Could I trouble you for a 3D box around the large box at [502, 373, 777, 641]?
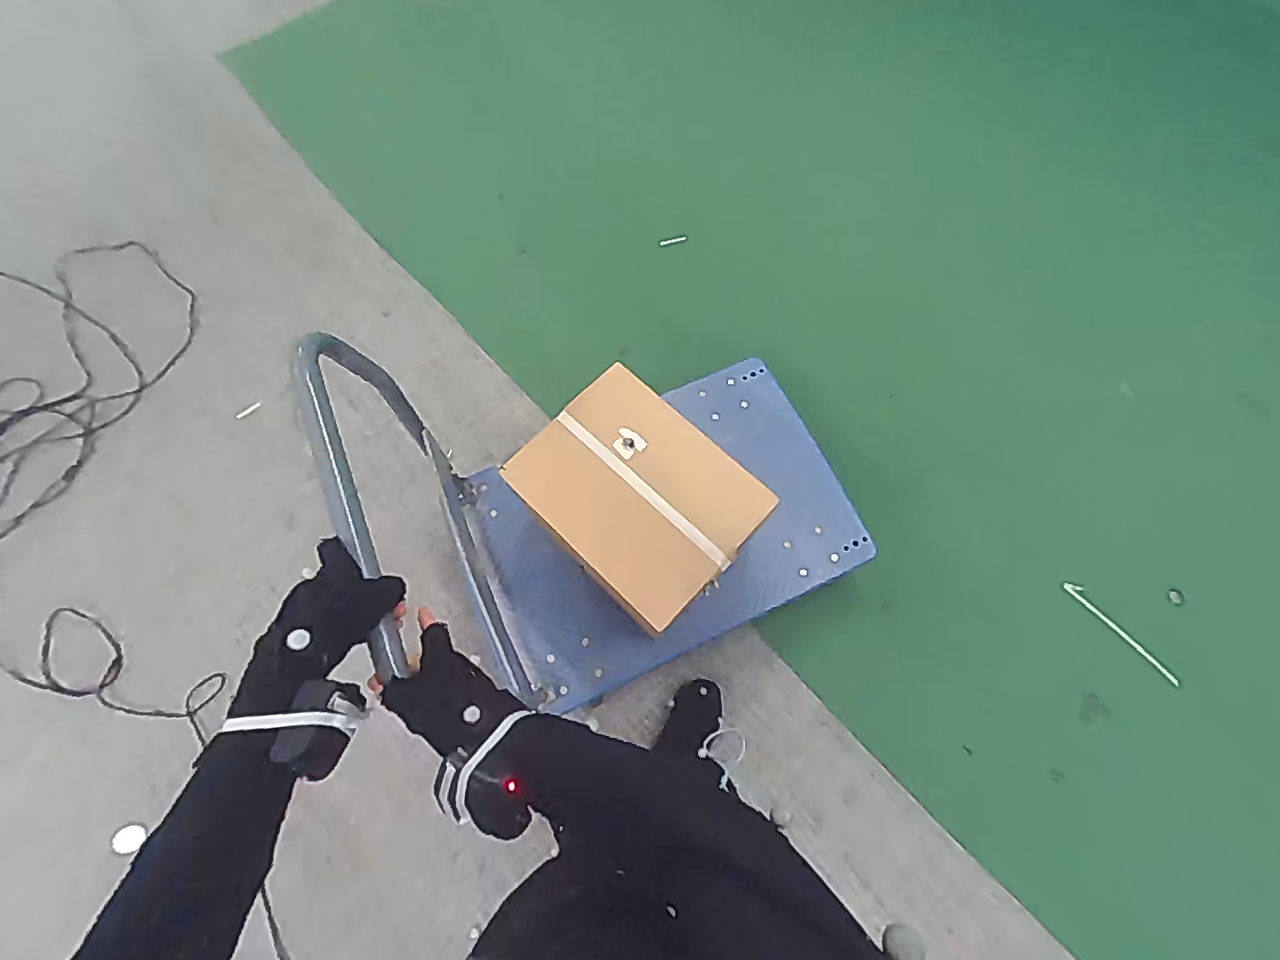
[{"bbox_3d":[0.002,0.071,1.099,0.408,0.320,0.320,42,76,15],"label":"large box"}]
